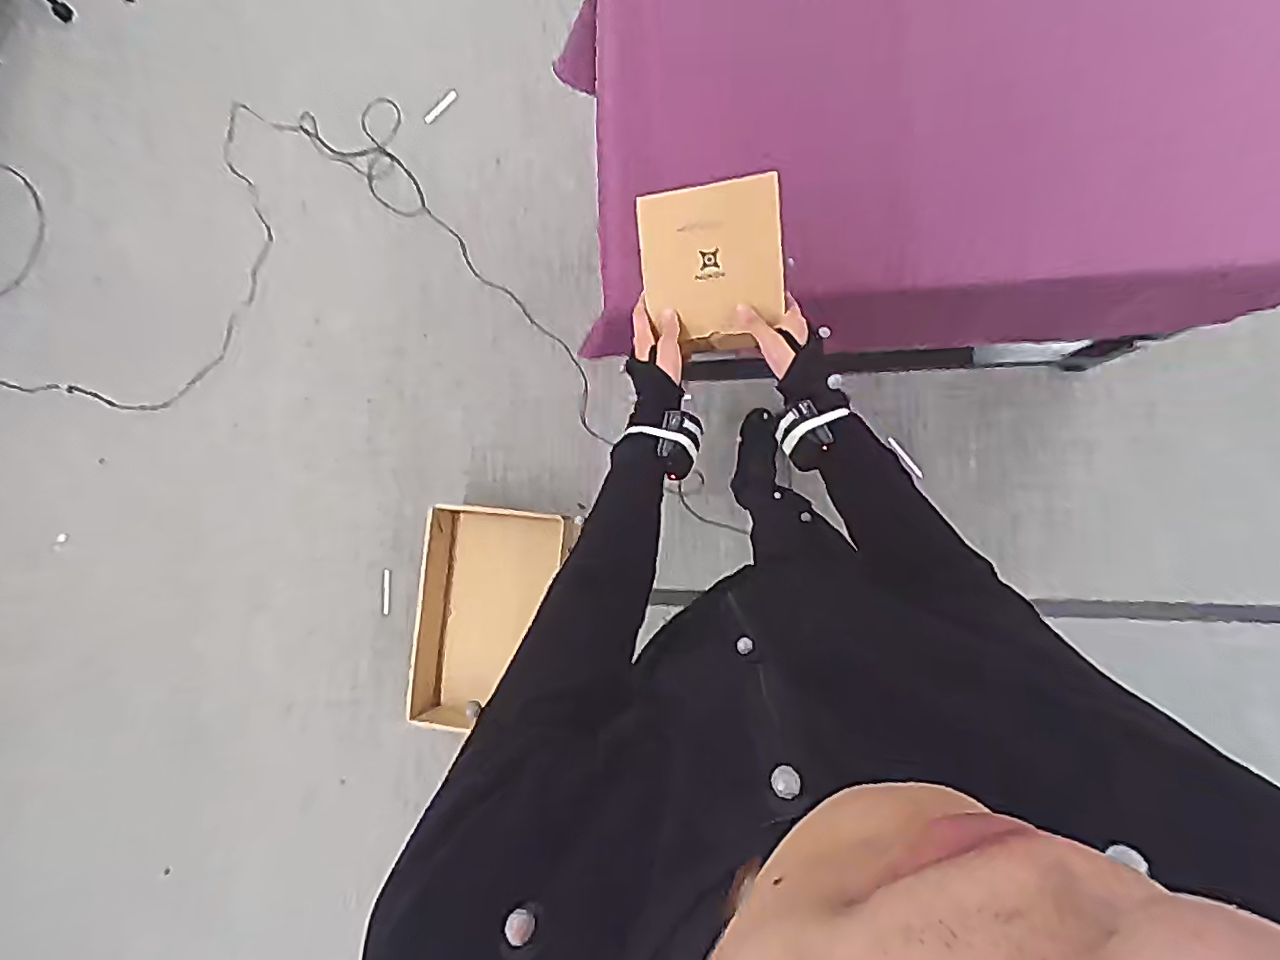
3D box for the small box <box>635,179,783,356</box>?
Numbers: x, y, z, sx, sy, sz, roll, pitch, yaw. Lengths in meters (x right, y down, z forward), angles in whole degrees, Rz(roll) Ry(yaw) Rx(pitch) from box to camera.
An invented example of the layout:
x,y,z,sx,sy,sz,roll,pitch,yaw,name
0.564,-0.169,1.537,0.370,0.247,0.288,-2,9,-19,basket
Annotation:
x,y,z,sx,sy,sz,roll,pitch,yaw,name
0.099,-0.259,0.708,0.168,0.176,0.179,-4,97,13,small box
